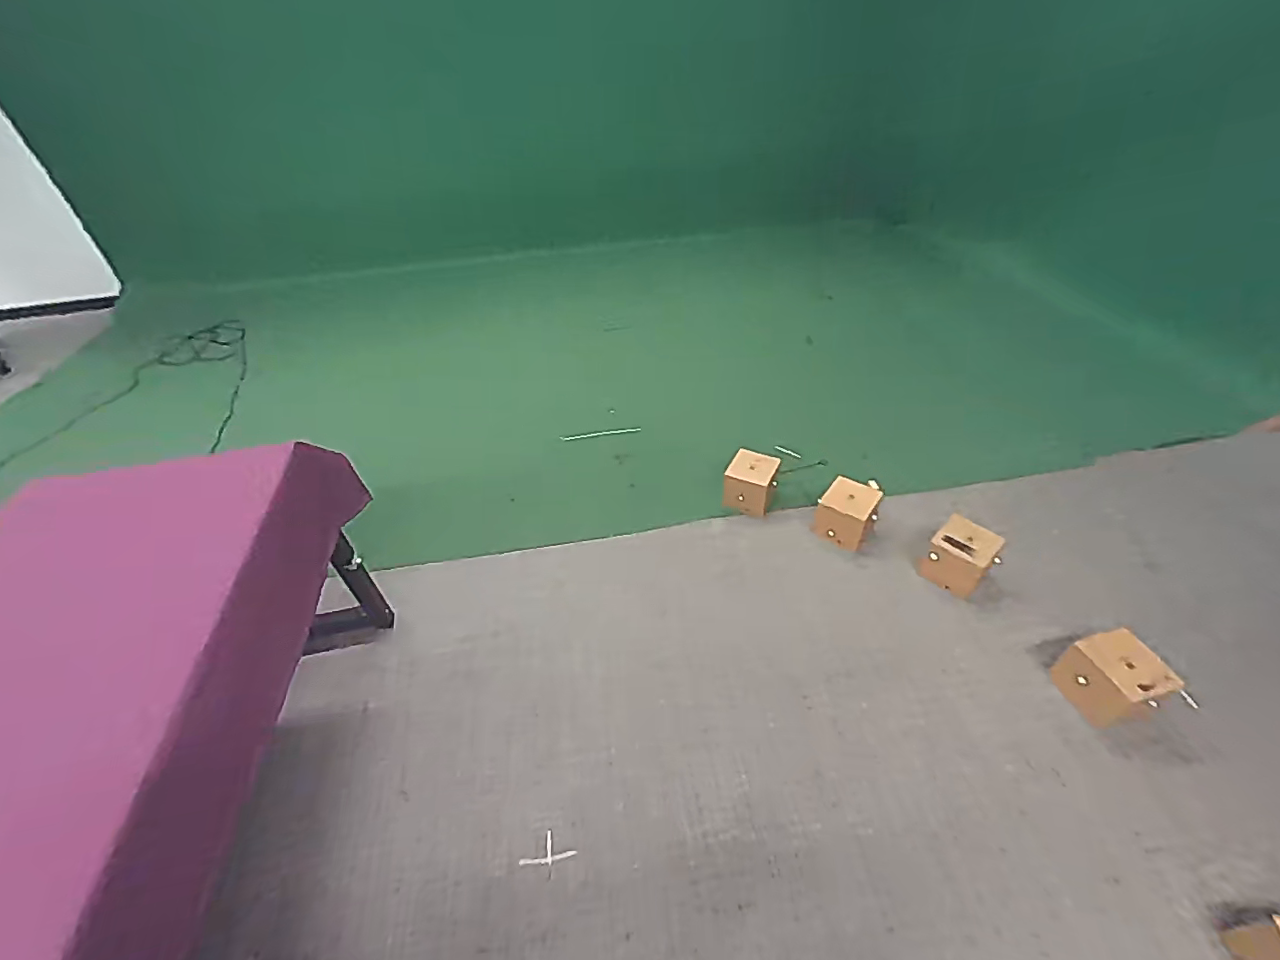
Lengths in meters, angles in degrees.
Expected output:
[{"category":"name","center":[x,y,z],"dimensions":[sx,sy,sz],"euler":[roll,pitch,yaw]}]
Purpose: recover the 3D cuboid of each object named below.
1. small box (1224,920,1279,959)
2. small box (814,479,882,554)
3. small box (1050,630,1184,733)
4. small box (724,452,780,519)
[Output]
[{"category":"small box","center":[1.262,0.931,0.987],"dimensions":[0.179,0.176,0.168],"euler":[1,41,6]},{"category":"small box","center":[0.745,0.132,1.948],"dimensions":[0.168,0.176,0.179],"euler":[25,50,30]},{"category":"small box","center":[1.252,0.536,1.437],"dimensions":[0.168,0.176,0.179],"euler":[-13,41,-9]},{"category":"small box","center":[0.432,0.023,2.096],"dimensions":[0.168,0.176,0.179],"euler":[18,45,23]}]
